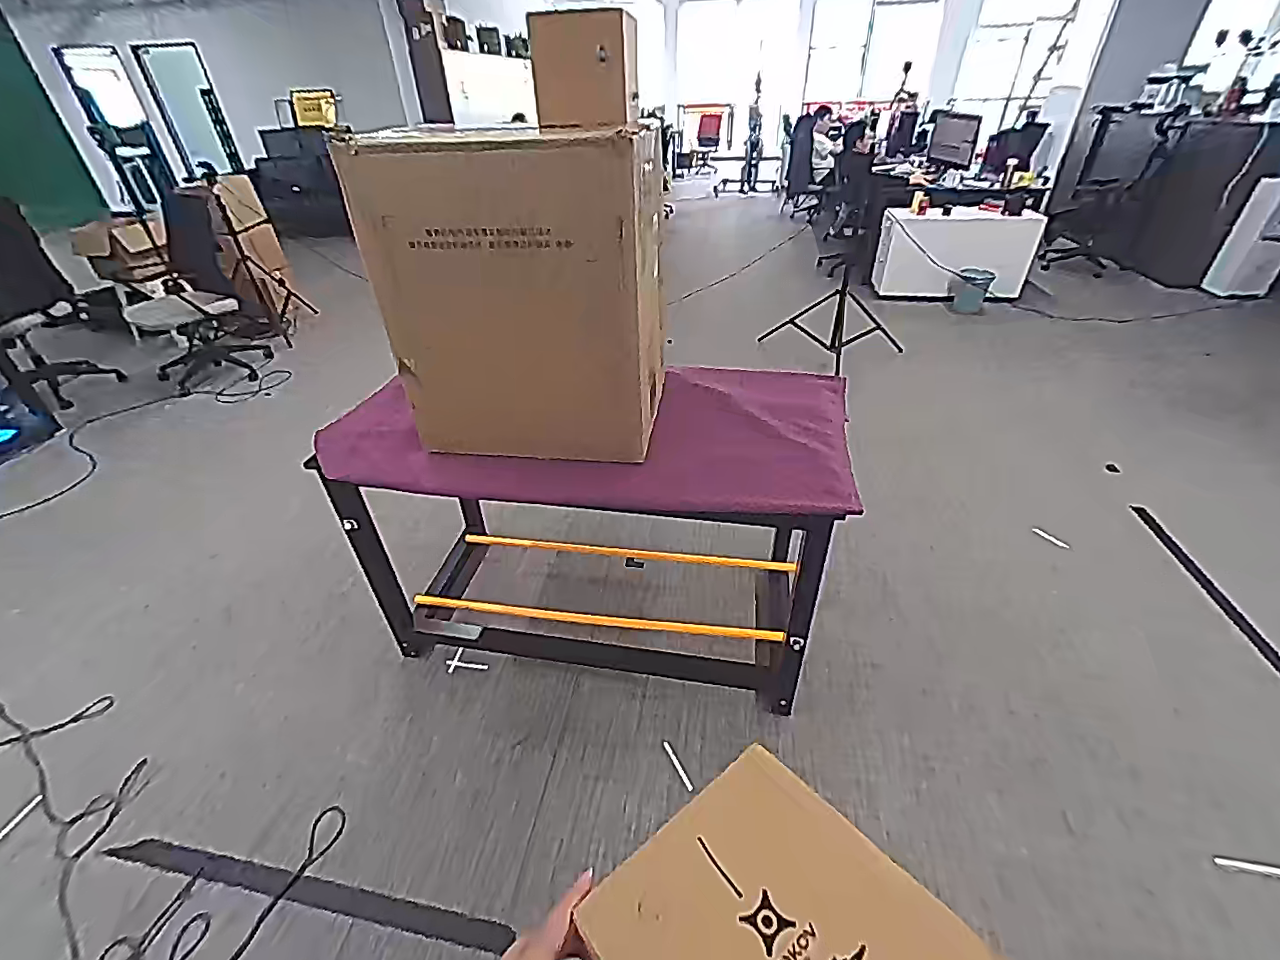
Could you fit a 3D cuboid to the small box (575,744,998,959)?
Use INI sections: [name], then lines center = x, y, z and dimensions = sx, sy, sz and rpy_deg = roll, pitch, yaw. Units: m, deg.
[small box]
center = 0.084, 0.322, 0.340
dimensions = 0.168, 0.176, 0.179
rpy_deg = -26, 35, -30
